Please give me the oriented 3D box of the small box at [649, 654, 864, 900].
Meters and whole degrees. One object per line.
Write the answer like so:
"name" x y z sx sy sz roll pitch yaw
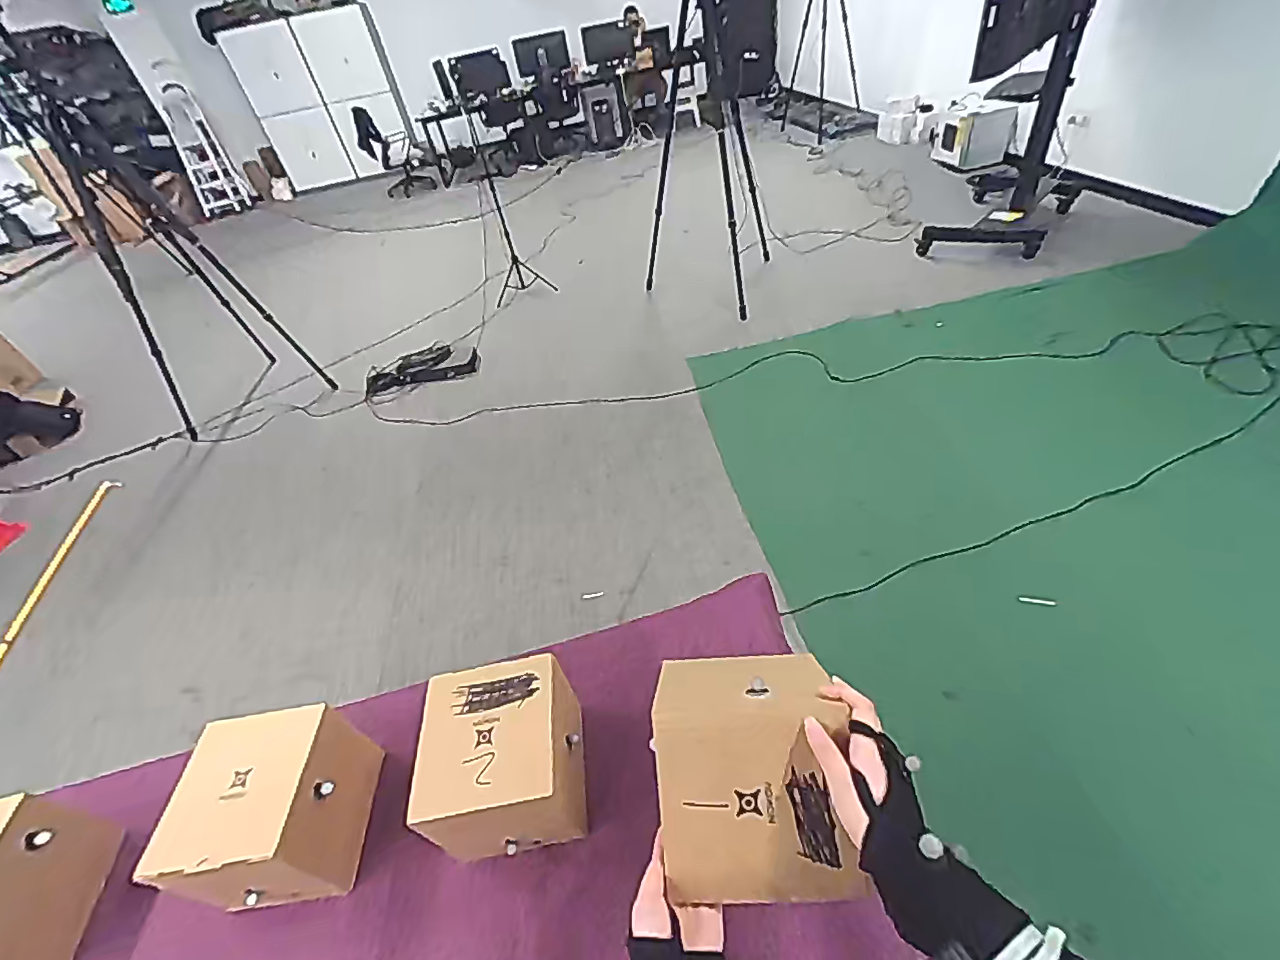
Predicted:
"small box" 0.107 0.282 0.550 0.179 0.176 0.168 -5 87 7

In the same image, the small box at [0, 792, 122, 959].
"small box" -0.820 0.530 0.676 0.168 0.176 0.179 -16 42 -3

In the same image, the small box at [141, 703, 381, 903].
"small box" -0.469 0.423 0.710 0.168 0.176 0.179 -11 43 3
